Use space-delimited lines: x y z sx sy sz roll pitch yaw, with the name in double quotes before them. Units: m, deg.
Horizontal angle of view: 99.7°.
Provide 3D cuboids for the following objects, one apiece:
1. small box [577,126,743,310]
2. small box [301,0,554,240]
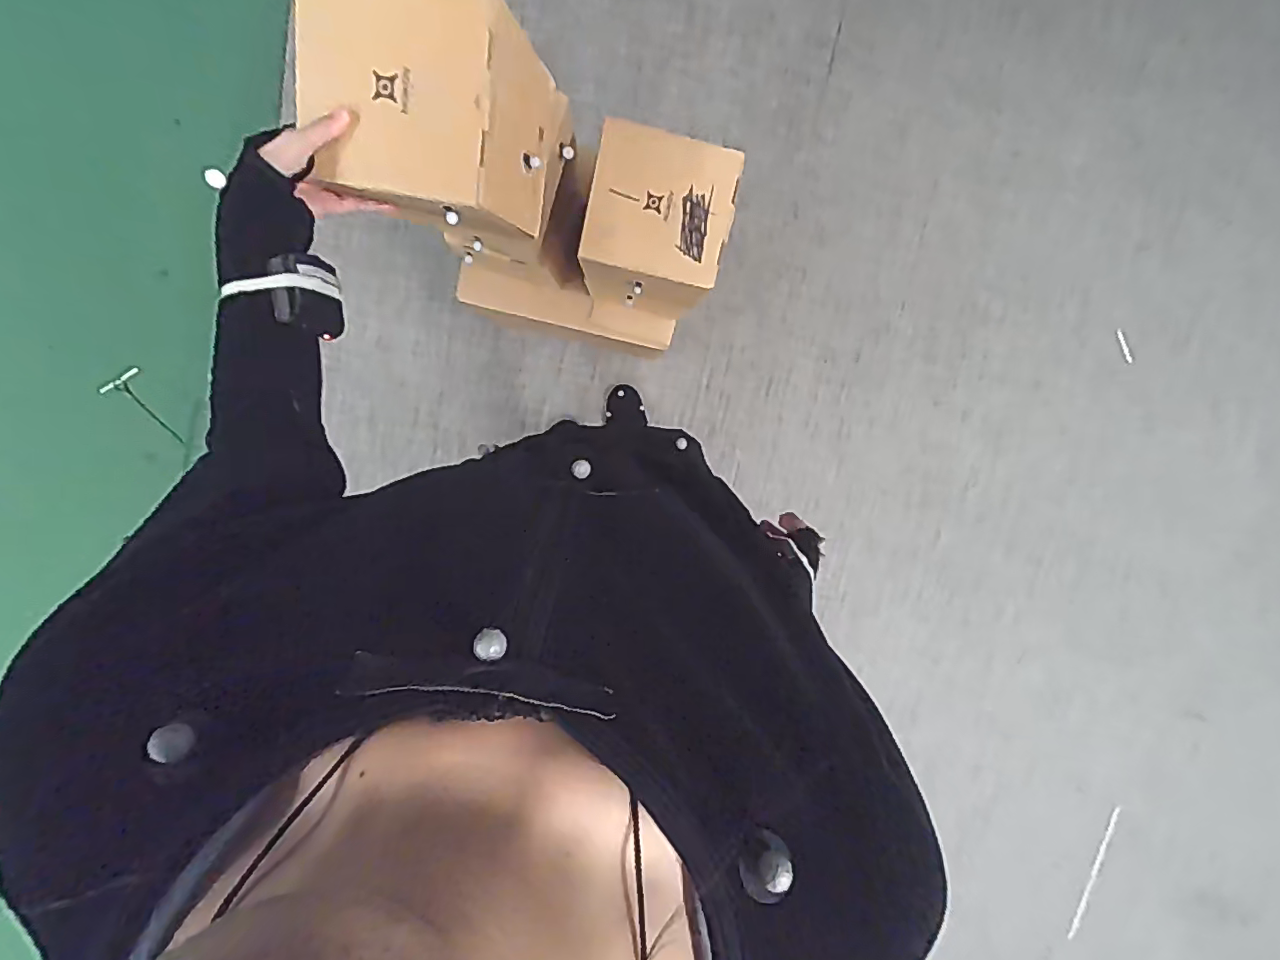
"small box" 0.024 -0.342 0.744 0.179 0.176 0.168 13 98 -2
"small box" -0.202 -0.350 0.543 0.179 0.176 0.168 10 105 6
